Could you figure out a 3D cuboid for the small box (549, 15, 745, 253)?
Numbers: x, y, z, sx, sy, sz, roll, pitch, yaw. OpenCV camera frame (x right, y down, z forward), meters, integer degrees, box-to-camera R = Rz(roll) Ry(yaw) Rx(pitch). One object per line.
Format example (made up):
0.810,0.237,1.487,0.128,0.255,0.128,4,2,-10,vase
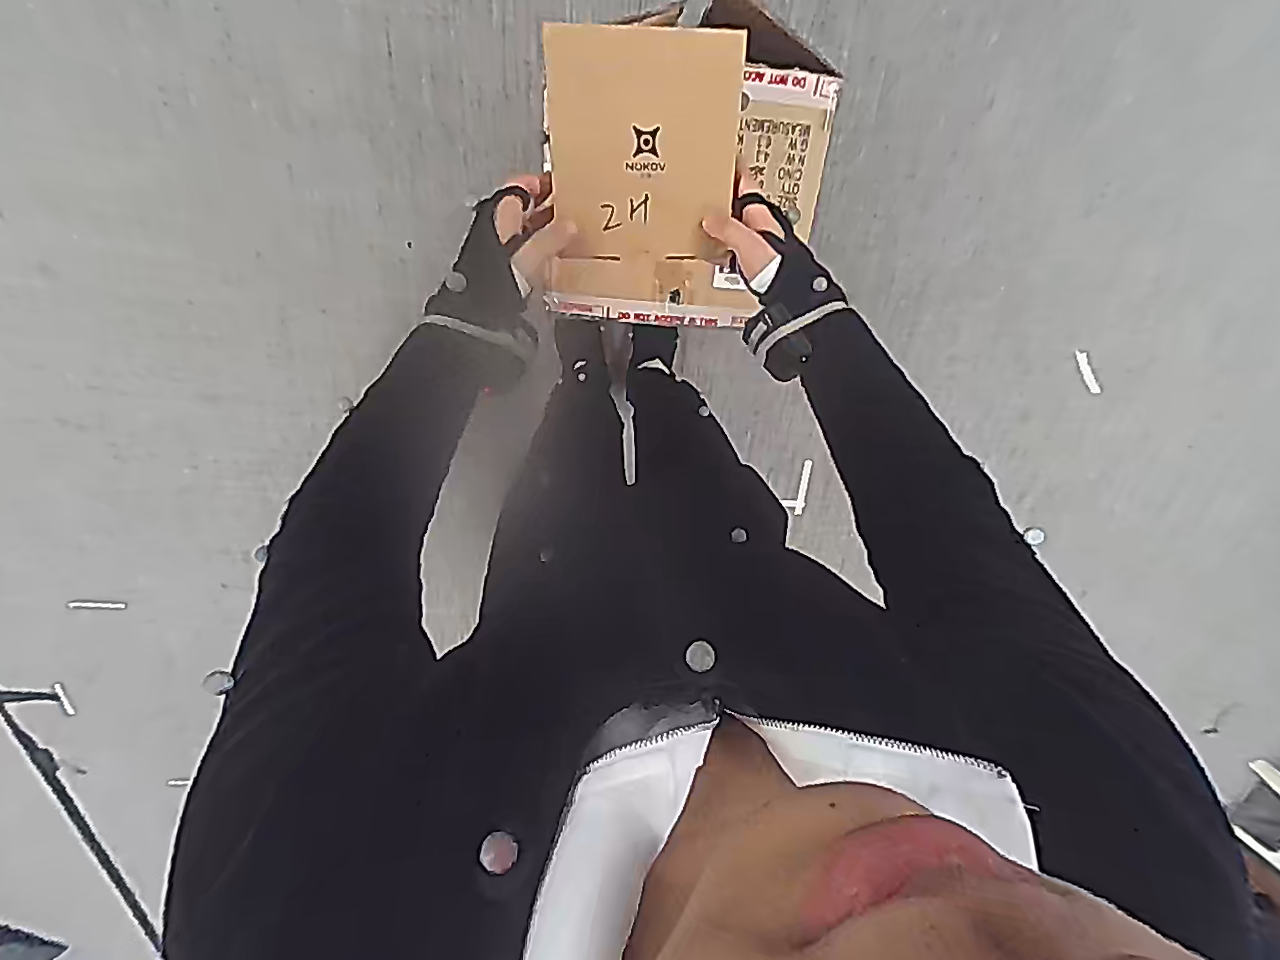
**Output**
-0.005,-0.334,0.545,0.168,0.176,0.179,-2,122,-6,small box
